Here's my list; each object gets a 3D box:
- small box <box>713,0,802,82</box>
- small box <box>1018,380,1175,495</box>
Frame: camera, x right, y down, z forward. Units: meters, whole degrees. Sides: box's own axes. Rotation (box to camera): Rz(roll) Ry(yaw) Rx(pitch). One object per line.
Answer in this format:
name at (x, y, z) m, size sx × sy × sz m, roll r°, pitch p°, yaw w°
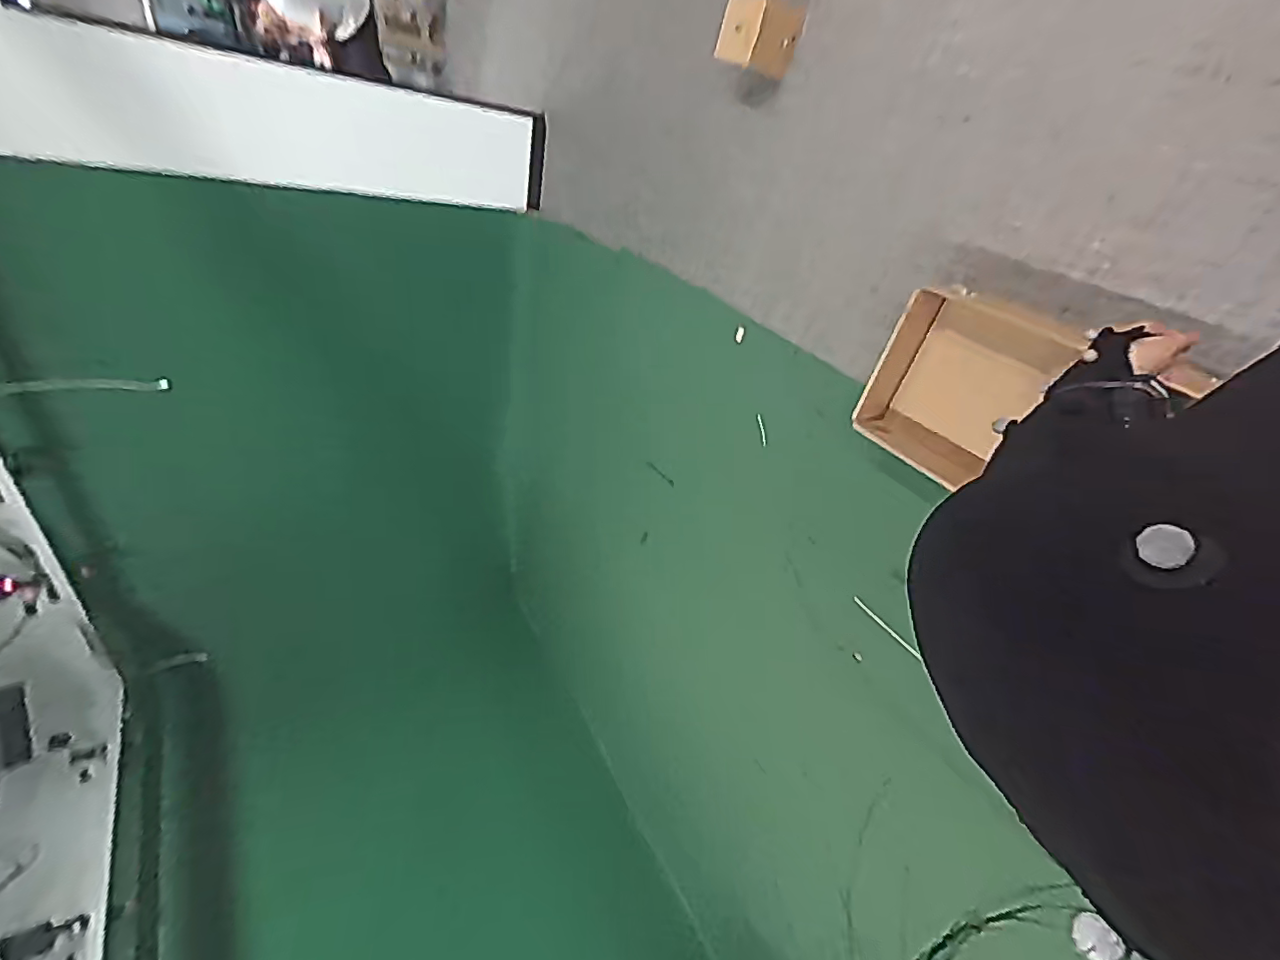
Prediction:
small box at (0.365, -1.366, 1.680) m, size 0.179 × 0.176 × 0.168 m, roll 51°, pitch 138°, yaw 36°
small box at (0.938, -0.094, 1.111) m, size 0.168 × 0.176 × 0.179 m, roll 43°, pitch 131°, yaw 41°
